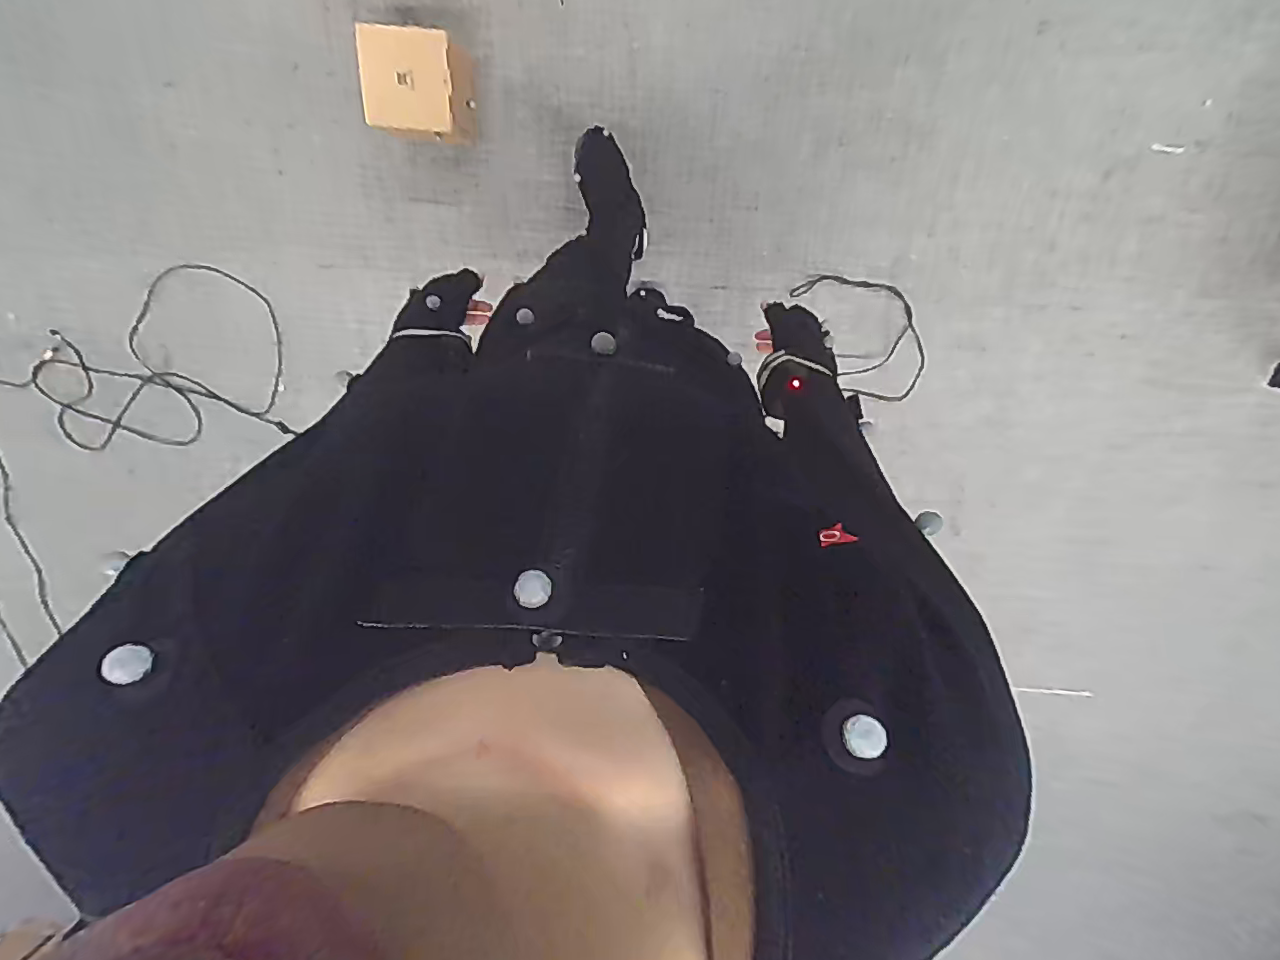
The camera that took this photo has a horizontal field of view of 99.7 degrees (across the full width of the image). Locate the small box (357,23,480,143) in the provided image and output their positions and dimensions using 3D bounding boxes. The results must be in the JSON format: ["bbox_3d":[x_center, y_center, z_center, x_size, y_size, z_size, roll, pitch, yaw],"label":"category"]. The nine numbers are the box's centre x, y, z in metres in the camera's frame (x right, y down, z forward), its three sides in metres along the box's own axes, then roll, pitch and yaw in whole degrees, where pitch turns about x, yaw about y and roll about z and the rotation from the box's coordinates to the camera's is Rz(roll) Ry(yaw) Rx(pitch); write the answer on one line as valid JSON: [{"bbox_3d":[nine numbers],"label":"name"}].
[{"bbox_3d":[-0.445,-0.806,1.113,0.179,0.176,0.168,4,114,1],"label":"small box"}]
